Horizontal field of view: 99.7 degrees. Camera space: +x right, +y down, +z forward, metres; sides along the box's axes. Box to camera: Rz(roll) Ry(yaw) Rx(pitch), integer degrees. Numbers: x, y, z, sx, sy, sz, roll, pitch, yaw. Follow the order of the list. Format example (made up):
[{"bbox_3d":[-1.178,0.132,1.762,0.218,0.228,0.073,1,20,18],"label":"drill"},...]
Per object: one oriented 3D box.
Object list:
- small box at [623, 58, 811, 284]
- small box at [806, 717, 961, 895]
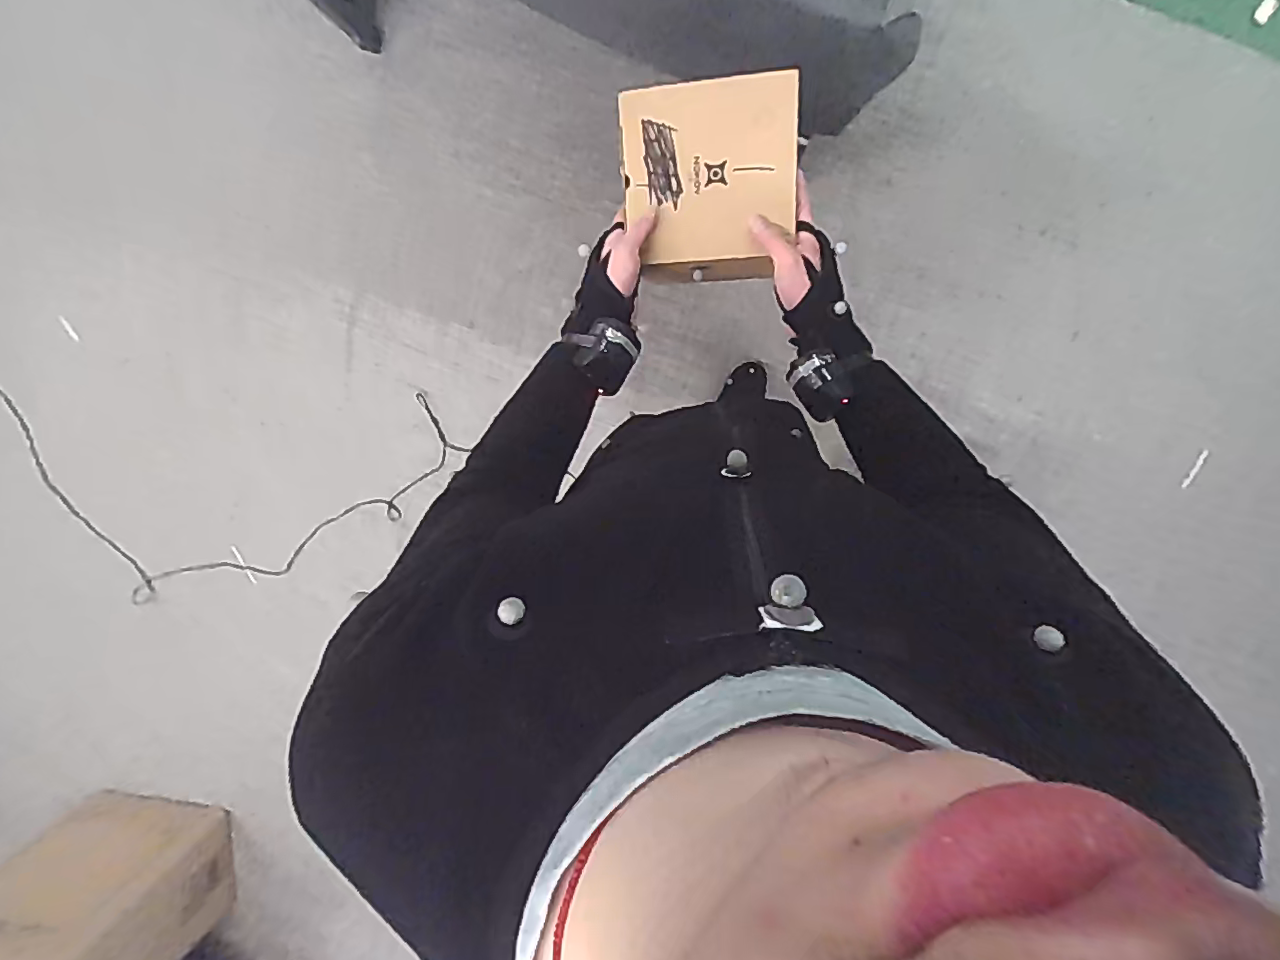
[{"bbox_3d":[0.085,-0.318,0.596,0.179,0.176,0.168,-3,102,7],"label":"small box"},{"bbox_3d":[0.410,0.561,0.951,0.168,0.176,0.179,22,102,-1],"label":"small box"}]
